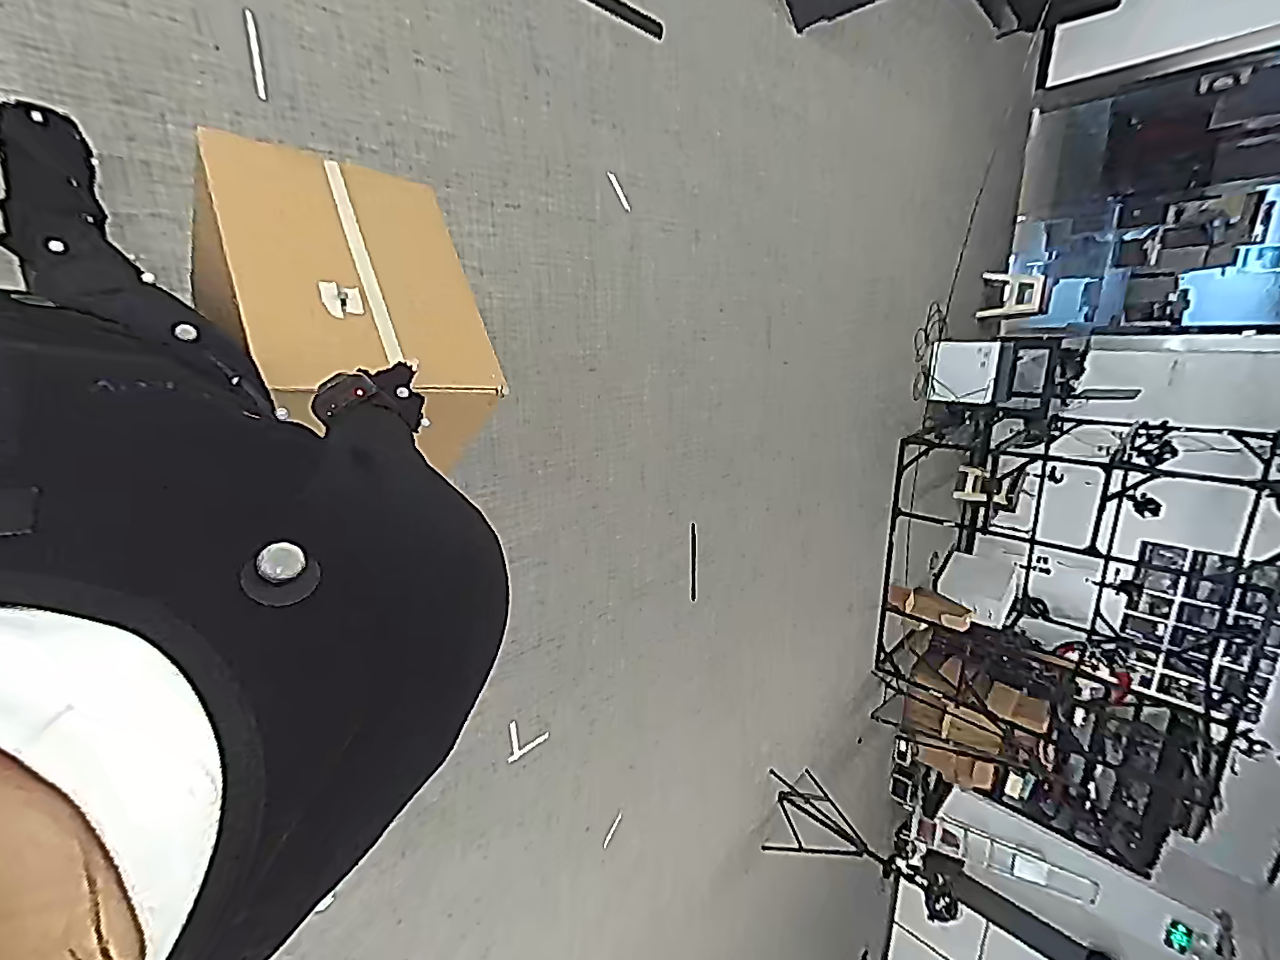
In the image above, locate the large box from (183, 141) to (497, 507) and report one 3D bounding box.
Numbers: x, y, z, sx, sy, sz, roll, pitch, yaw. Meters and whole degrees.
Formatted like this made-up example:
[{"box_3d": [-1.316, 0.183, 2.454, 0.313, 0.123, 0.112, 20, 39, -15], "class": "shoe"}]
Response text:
[{"box_3d": [-0.486, -0.216, 0.853, 0.320, 0.320, 0.408, -10, 70, -43], "class": "large box"}]
